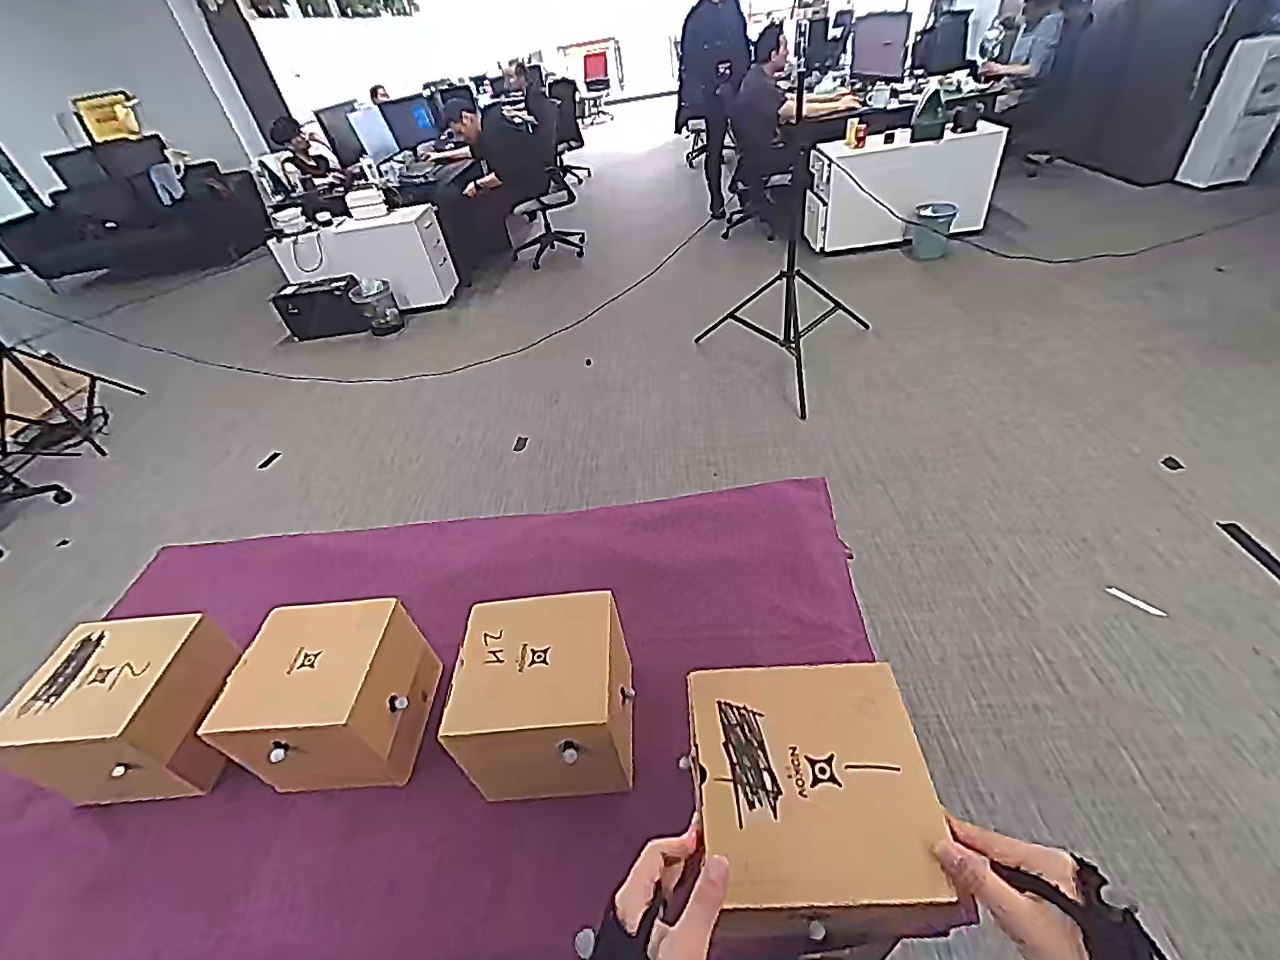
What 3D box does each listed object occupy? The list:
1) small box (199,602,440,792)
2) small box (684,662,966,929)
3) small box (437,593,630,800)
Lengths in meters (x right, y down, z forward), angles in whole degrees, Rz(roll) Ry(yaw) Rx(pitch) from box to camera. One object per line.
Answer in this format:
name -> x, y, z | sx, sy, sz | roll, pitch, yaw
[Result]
small box -> -0.382, 0.277, 0.688 | 0.179, 0.176, 0.168 | -6, 40, 6
small box -> 0.133, 0.274, 0.465 | 0.179, 0.176, 0.168 | -4, 47, 3
small box -> -0.108, 0.259, 0.644 | 0.179, 0.176, 0.168 | -7, 38, 5
